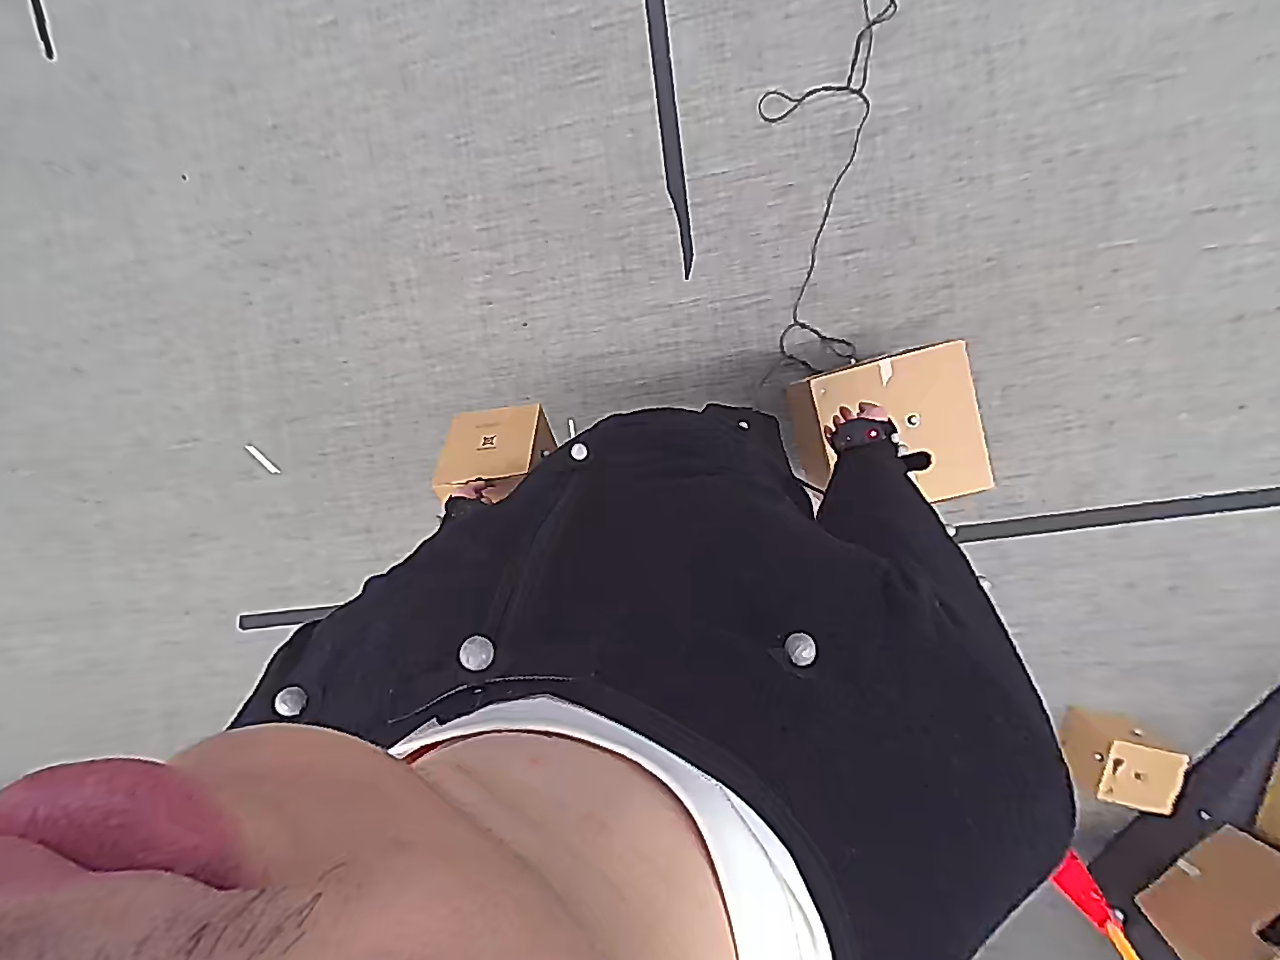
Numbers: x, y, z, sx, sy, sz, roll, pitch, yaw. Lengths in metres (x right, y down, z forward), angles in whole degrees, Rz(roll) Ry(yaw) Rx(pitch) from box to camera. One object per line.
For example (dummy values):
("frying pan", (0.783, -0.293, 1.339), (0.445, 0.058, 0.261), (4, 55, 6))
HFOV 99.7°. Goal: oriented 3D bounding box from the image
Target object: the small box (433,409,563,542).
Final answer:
("small box", (-0.245, 0.000, 0.982), (0.168, 0.179, 0.176), (-6, 137, 6))
